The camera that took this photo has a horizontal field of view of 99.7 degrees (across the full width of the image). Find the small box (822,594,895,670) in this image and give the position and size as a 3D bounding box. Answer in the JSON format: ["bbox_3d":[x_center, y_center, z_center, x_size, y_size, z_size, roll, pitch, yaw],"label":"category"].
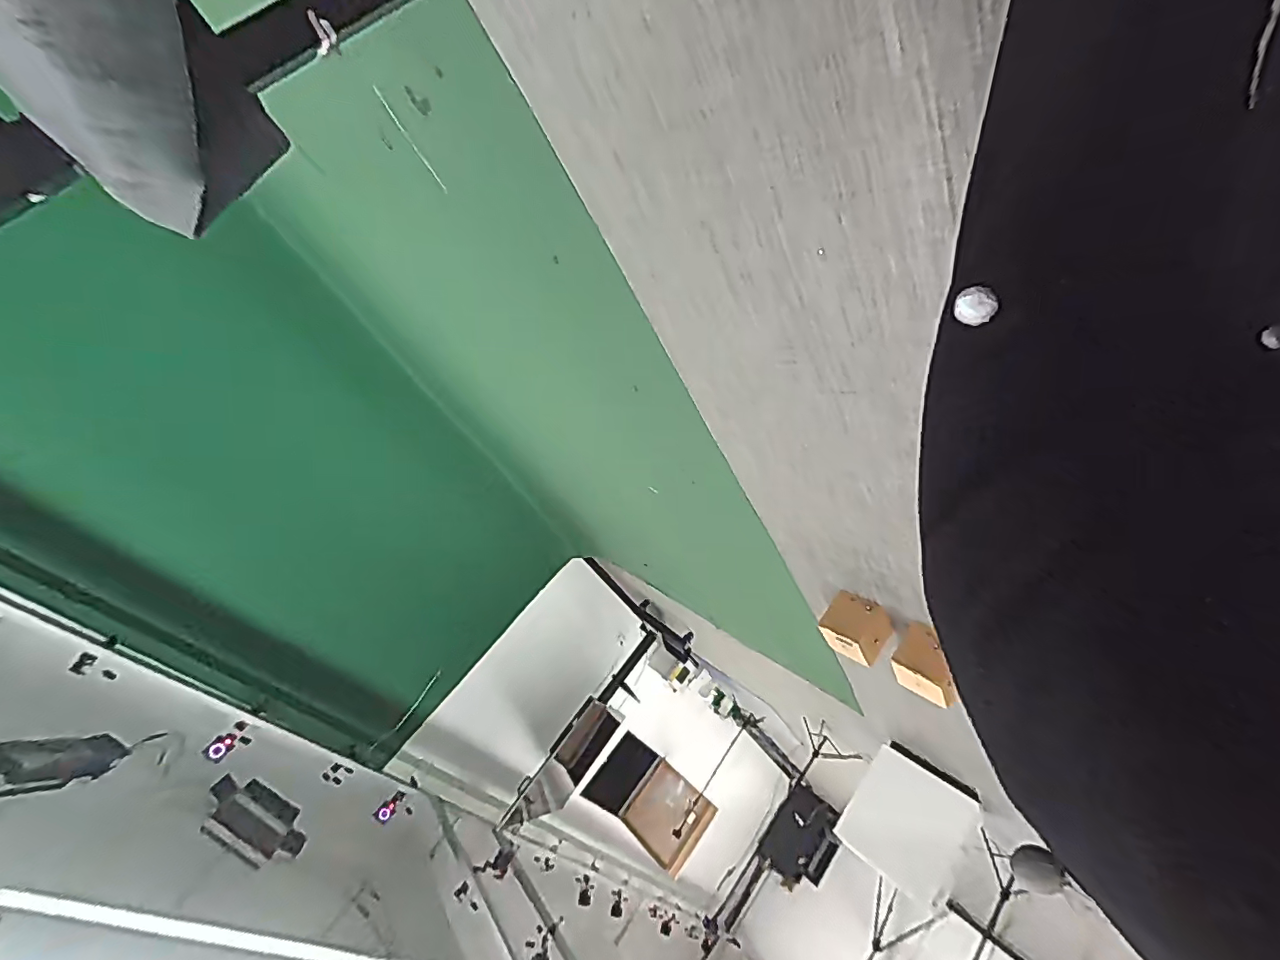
[{"bbox_3d":[0.795,0.544,1.962,0.168,0.176,0.179,20,153,52],"label":"small box"}]

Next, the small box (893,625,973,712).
[{"bbox_3d":[0.957,0.607,1.756,0.168,0.176,0.179,23,154,49],"label":"small box"}]
